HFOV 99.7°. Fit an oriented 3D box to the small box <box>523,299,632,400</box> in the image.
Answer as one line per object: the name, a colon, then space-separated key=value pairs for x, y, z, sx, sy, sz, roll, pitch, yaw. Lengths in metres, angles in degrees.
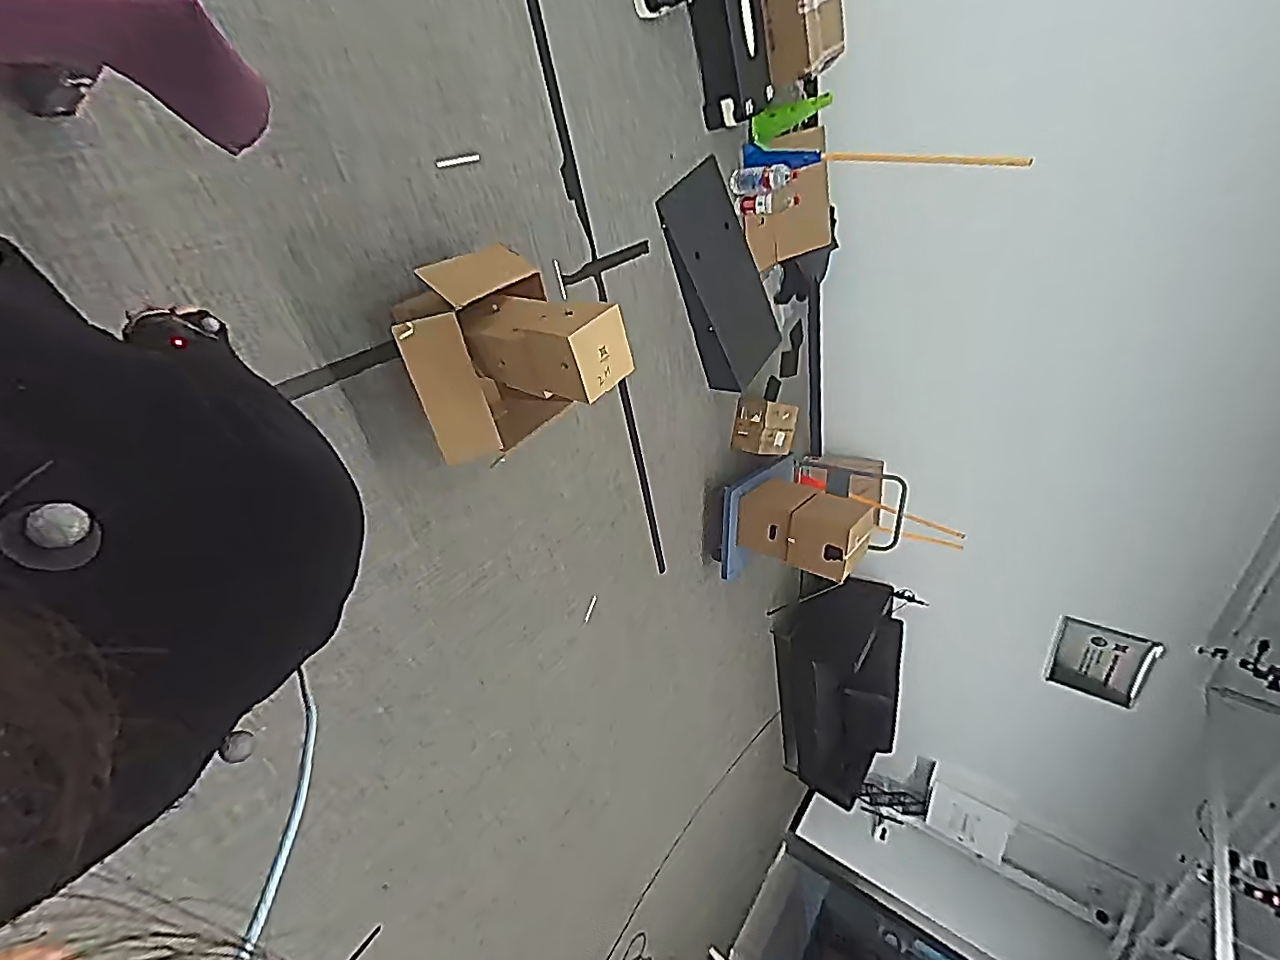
small box: x=-0.148 y=-0.316 z=1.280 sx=0.168 sy=0.176 sz=0.179 roll=-43 pitch=137 yaw=-29

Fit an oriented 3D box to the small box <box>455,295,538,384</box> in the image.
small box: x=-0.377 y=-0.396 z=1.504 sx=0.168 sy=0.176 sz=0.179 roll=-55 pitch=142 yaw=-20
